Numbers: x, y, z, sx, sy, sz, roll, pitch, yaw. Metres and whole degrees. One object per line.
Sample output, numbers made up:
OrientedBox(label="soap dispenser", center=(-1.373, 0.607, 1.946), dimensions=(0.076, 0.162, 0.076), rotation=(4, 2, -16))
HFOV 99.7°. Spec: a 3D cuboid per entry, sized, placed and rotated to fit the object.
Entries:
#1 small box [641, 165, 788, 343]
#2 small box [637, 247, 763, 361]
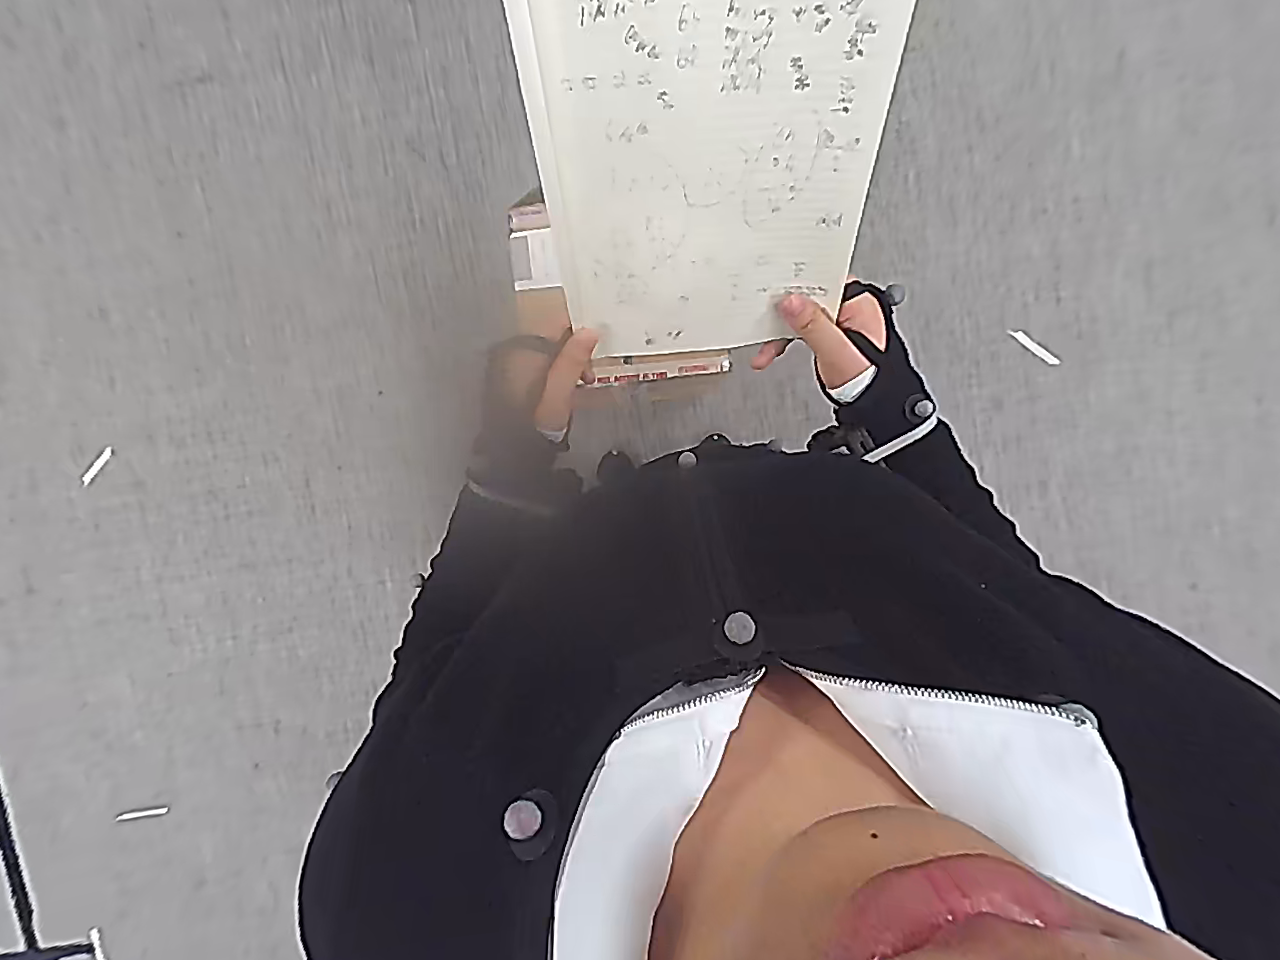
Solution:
OrientedBox(label="small box", center=(0.095, -0.307, 0.765), dimensions=(0.168, 0.176, 0.179), rotation=(-9, 94, -1))
OrientedBox(label="small box", center=(0.095, -0.310, 0.930), dimensions=(0.179, 0.176, 0.168), rotation=(-12, 94, 0))
